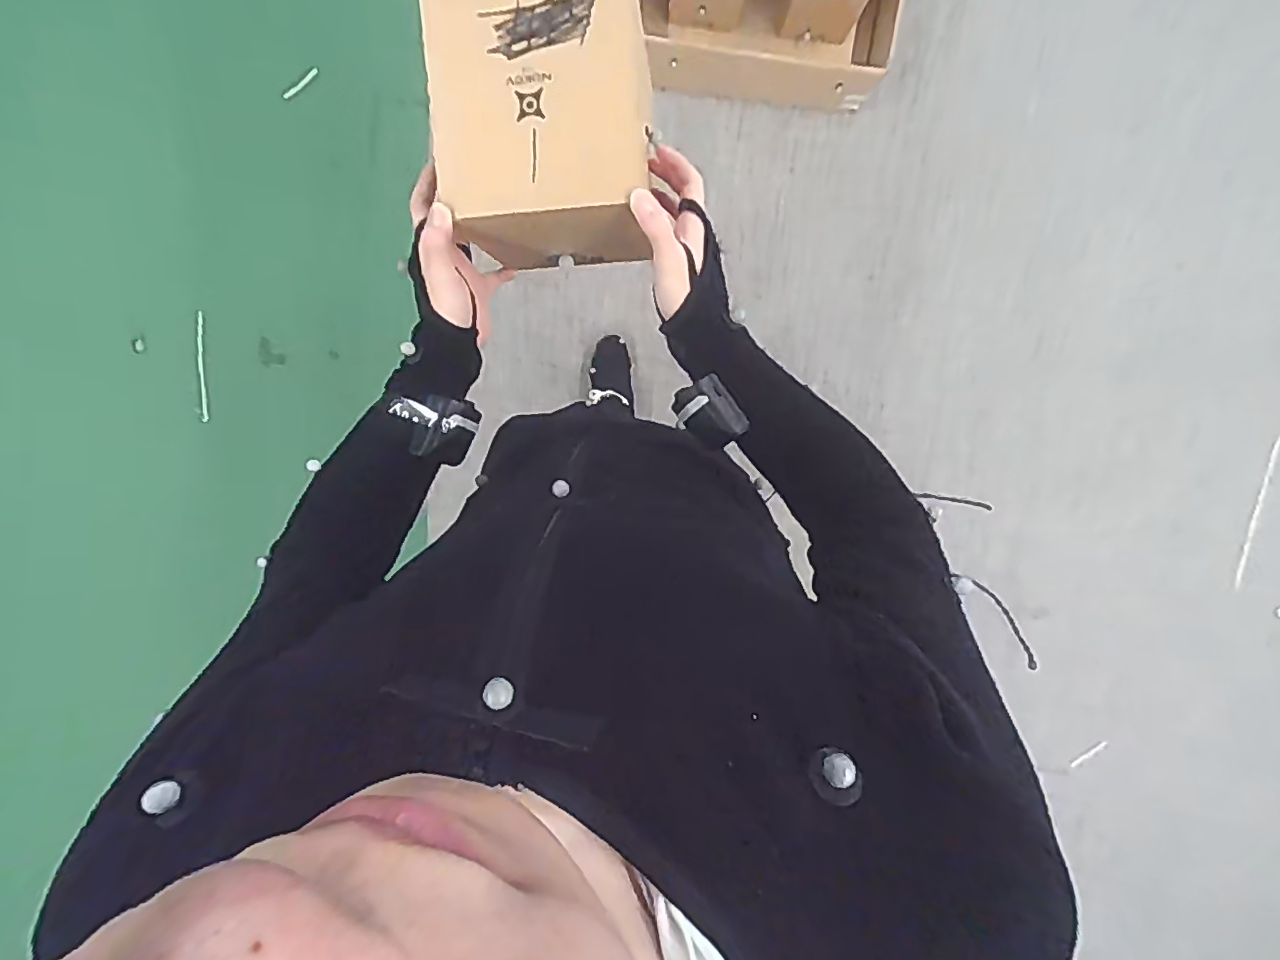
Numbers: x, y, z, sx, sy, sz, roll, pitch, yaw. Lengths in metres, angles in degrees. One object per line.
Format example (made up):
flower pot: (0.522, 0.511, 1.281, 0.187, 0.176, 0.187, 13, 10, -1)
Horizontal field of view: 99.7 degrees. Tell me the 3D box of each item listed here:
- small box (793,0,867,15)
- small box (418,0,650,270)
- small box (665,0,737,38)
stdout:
small box: (0.420, -1.120, 1.113, 0.168, 0.176, 0.179, 7, 100, 0)
small box: (-0.079, -0.306, 0.491, 0.168, 0.176, 0.179, -2, 97, 6)
small box: (0.150, -1.183, 1.263, 0.168, 0.176, 0.179, 6, 100, -2)
